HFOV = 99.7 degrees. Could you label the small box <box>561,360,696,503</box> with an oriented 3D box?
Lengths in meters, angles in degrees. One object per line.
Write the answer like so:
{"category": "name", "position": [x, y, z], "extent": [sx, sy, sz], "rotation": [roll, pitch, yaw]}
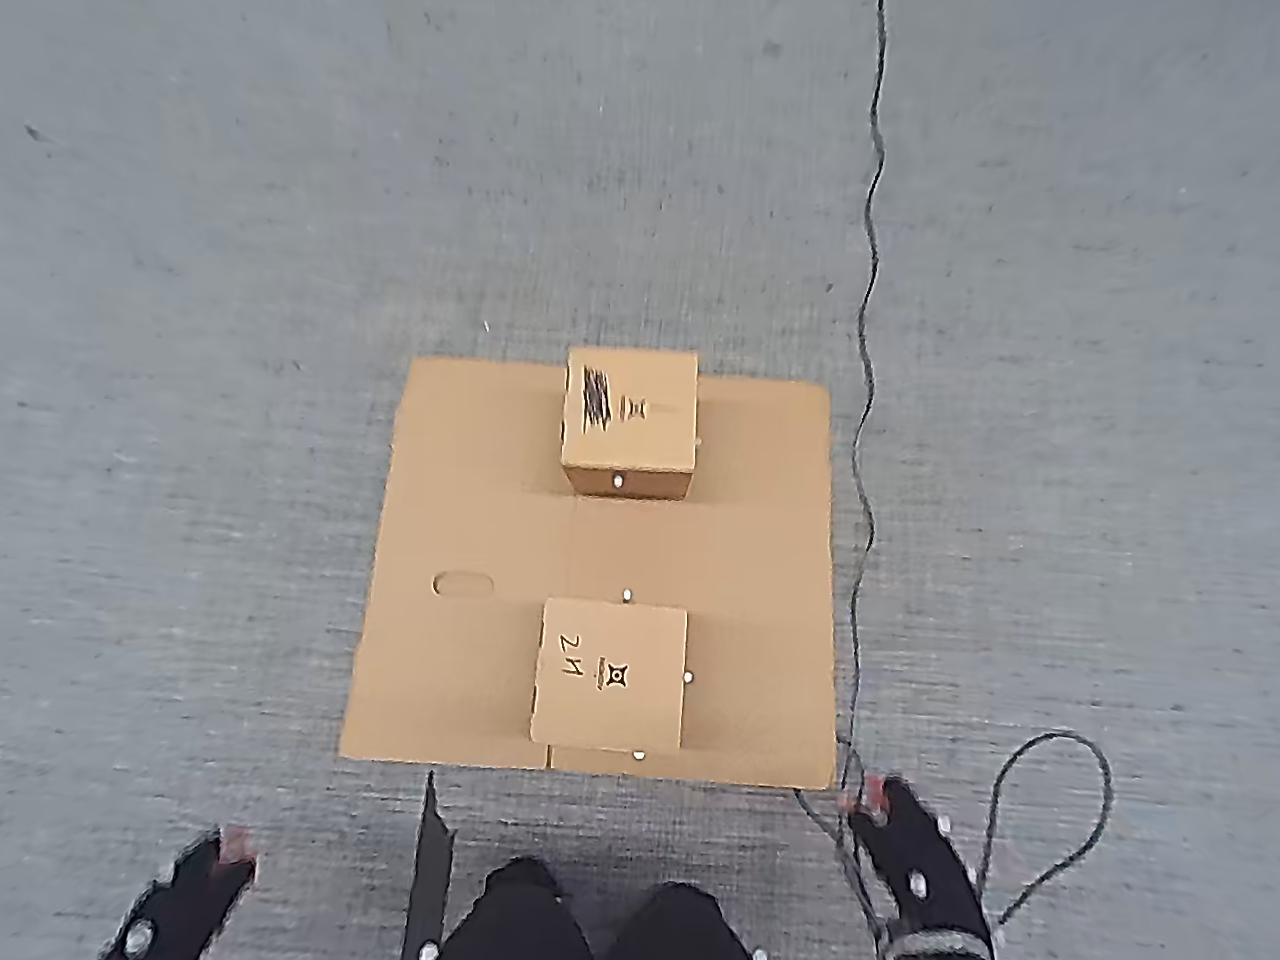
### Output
{"category": "small box", "position": [-0.012, -0.063, 0.803], "extent": [0.179, 0.176, 0.168], "rotation": [3, 76, 1]}

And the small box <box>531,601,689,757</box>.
{"category": "small box", "position": [-0.033, 0.254, 0.725], "extent": [0.179, 0.176, 0.168], "rotation": [5, 76, 3]}
